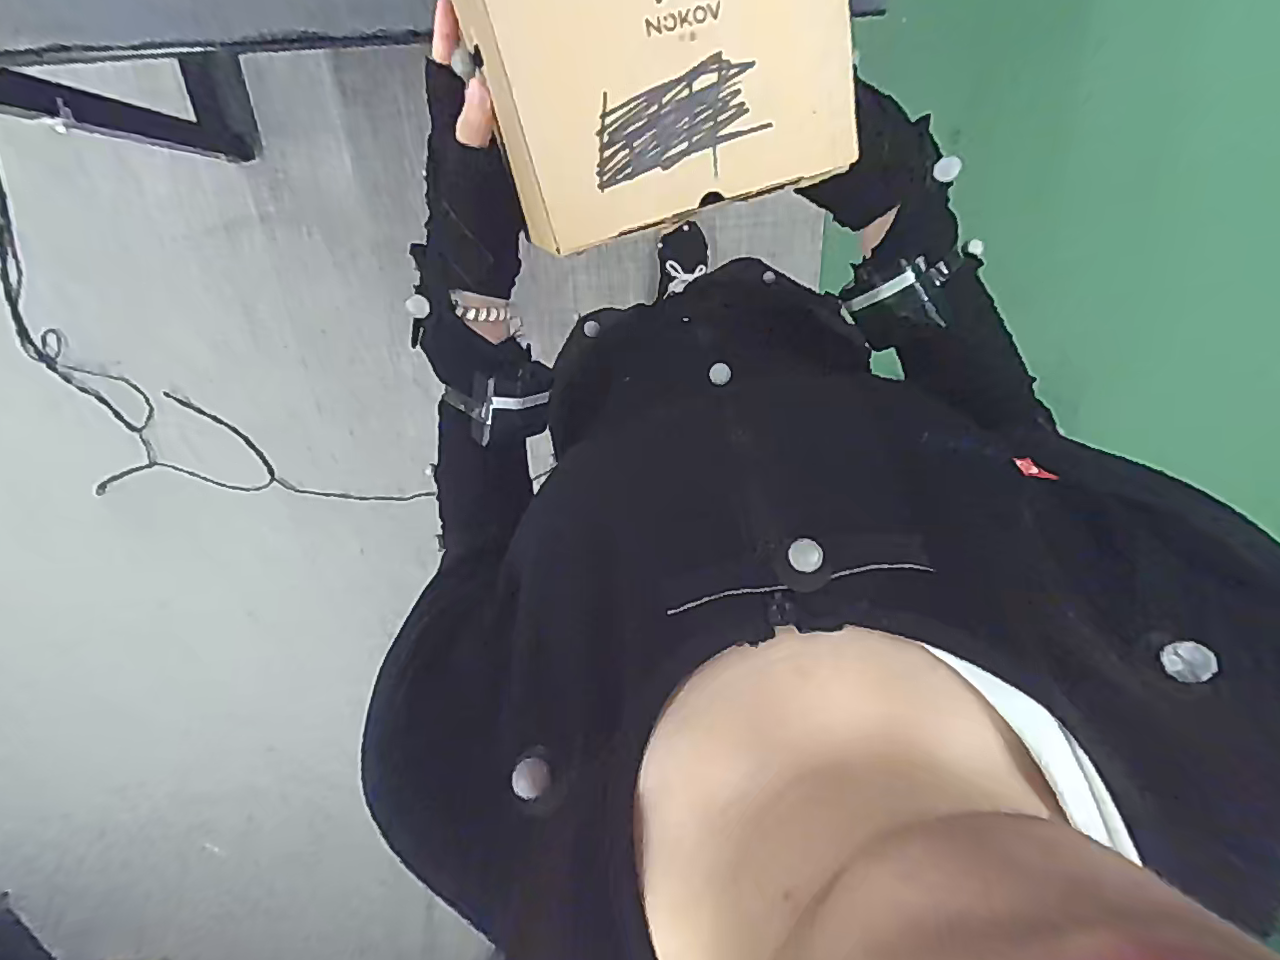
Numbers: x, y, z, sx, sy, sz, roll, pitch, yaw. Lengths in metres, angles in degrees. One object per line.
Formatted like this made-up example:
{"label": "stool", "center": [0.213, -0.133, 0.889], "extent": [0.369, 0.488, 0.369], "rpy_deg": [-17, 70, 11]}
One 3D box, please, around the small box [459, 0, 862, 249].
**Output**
{"label": "small box", "center": [-0.002, -0.246, 0.300], "extent": [0.168, 0.176, 0.179], "rpy_deg": [-21, 119, -7]}
